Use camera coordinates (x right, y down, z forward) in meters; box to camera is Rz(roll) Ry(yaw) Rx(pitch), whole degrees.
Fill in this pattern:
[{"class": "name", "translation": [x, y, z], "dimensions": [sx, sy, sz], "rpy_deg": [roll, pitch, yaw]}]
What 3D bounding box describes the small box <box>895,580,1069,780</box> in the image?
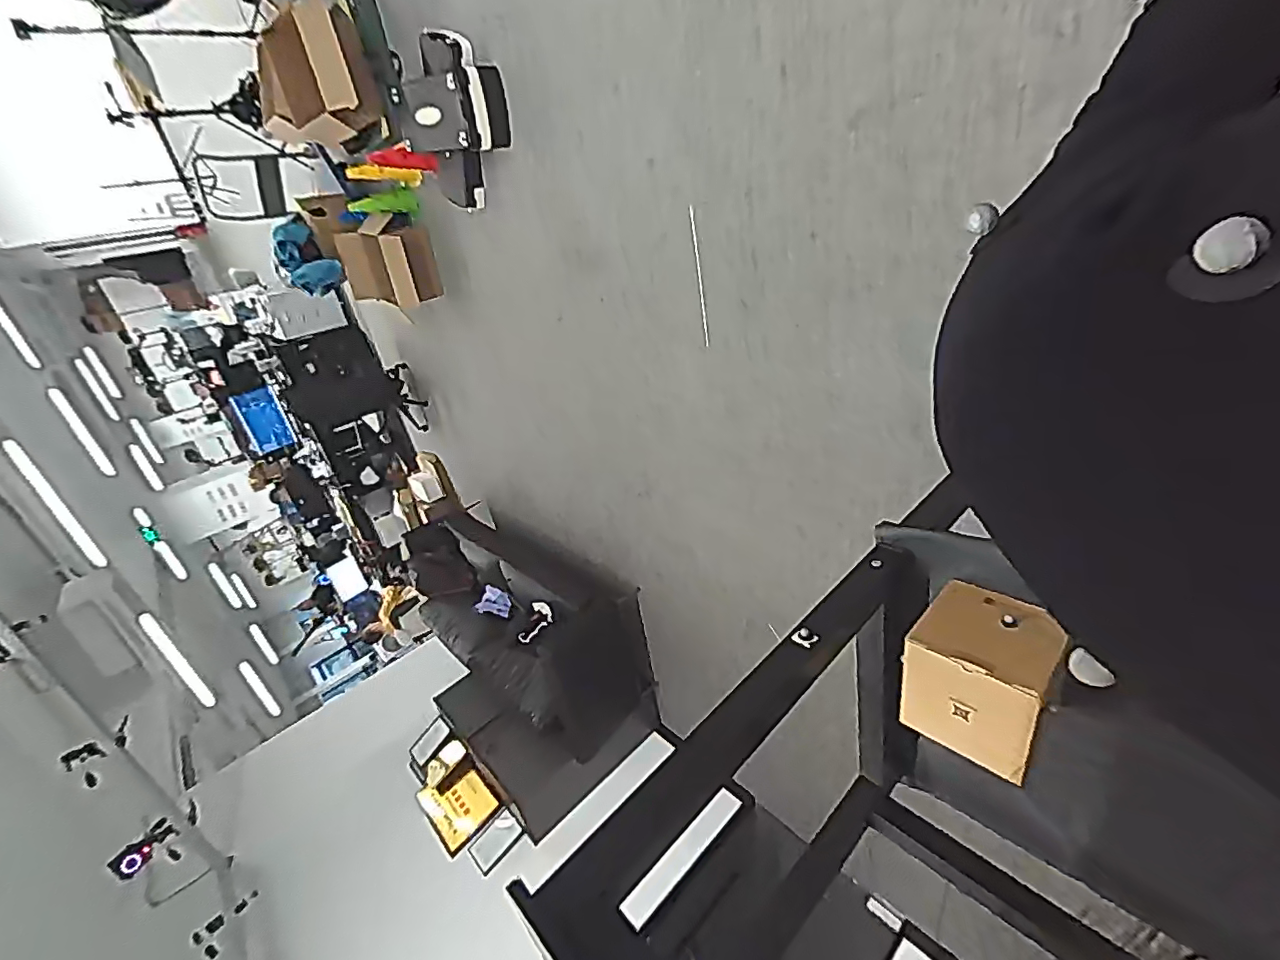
[{"class": "small box", "translation": [0.497, 0.280, 0.793], "dimensions": [0.168, 0.176, 0.179], "rpy_deg": [19, 129, 45]}]
